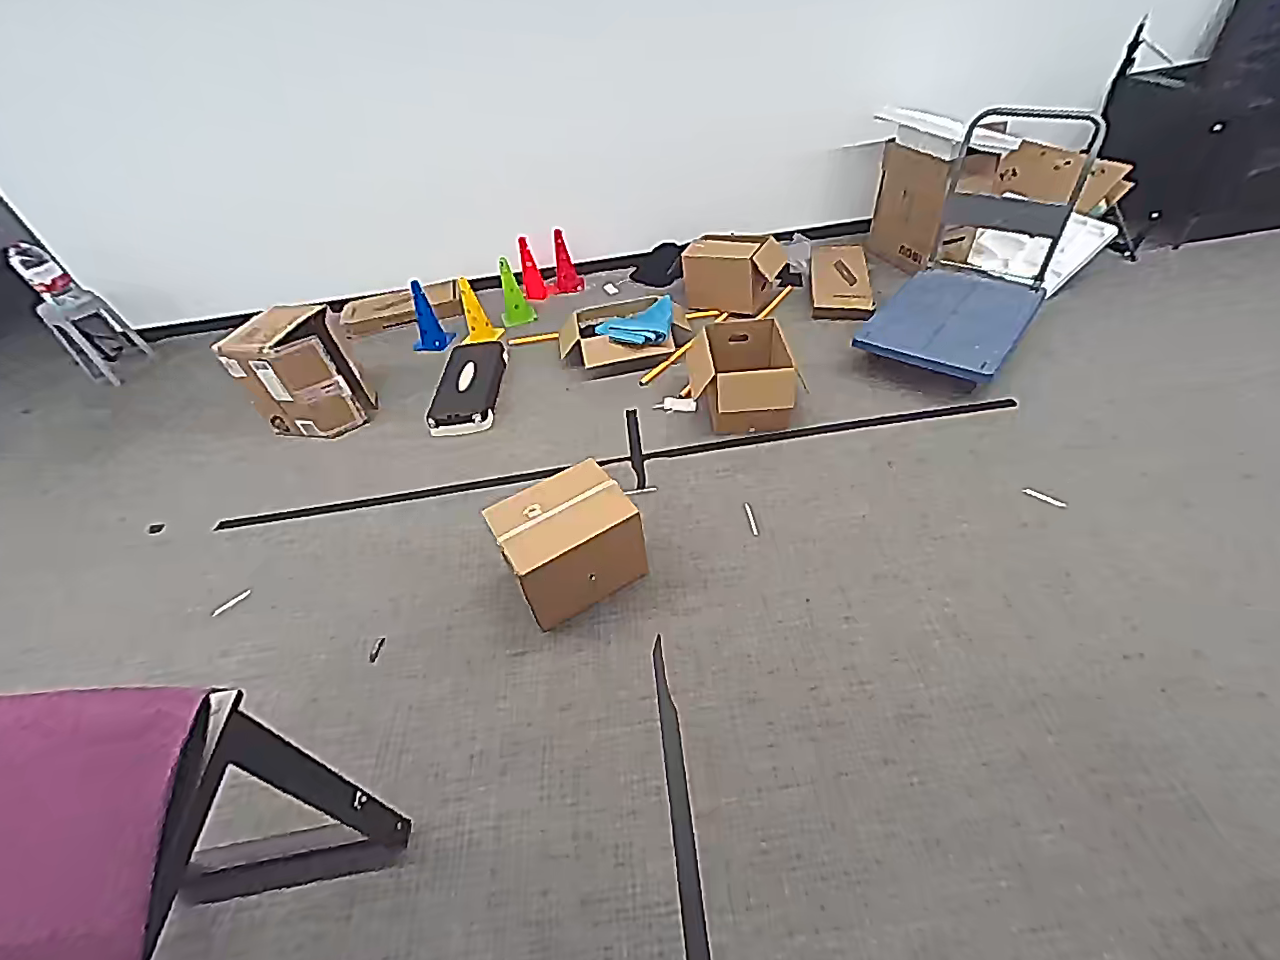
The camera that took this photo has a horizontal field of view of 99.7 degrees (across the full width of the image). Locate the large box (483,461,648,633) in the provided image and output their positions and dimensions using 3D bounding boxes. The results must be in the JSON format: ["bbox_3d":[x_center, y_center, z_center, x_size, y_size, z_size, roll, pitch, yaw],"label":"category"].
[{"bbox_3d":[-0.229,0.212,1.759,0.408,0.320,0.320,-29,47,-18],"label":"large box"}]
